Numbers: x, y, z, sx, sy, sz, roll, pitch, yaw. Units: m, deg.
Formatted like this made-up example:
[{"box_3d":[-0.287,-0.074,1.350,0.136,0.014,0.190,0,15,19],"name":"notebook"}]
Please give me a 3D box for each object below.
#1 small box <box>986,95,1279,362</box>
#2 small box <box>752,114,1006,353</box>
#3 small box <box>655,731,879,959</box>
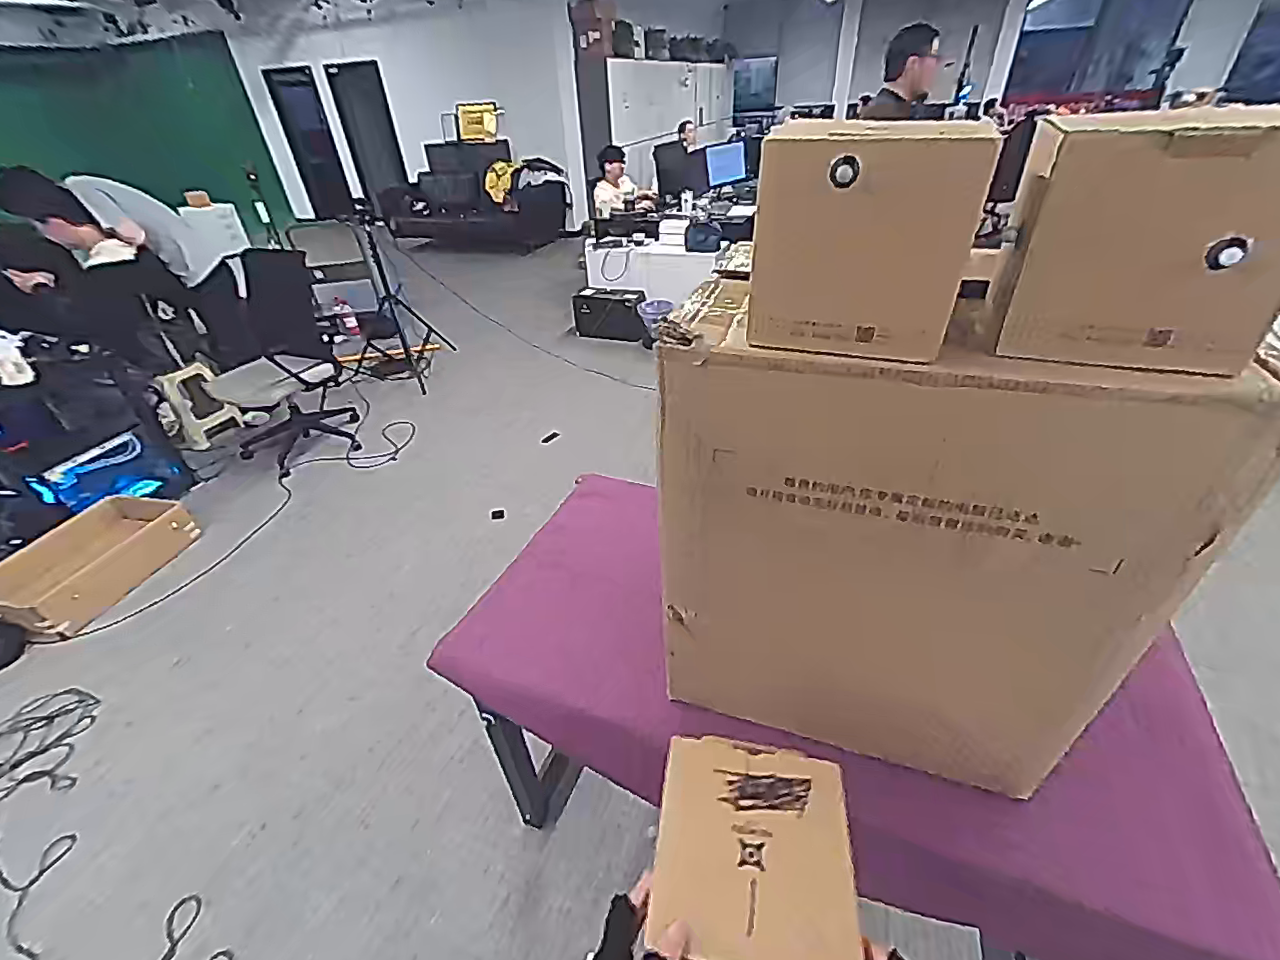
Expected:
[{"box_3d":[0.410,-0.210,0.452,0.168,0.176,0.179,12,37,22],"name":"small box"},{"box_3d":[0.203,-0.233,0.498,0.168,0.176,0.179,10,37,18],"name":"small box"},{"box_3d":[0.106,0.372,0.502,0.168,0.176,0.179,5,34,9],"name":"small box"}]
